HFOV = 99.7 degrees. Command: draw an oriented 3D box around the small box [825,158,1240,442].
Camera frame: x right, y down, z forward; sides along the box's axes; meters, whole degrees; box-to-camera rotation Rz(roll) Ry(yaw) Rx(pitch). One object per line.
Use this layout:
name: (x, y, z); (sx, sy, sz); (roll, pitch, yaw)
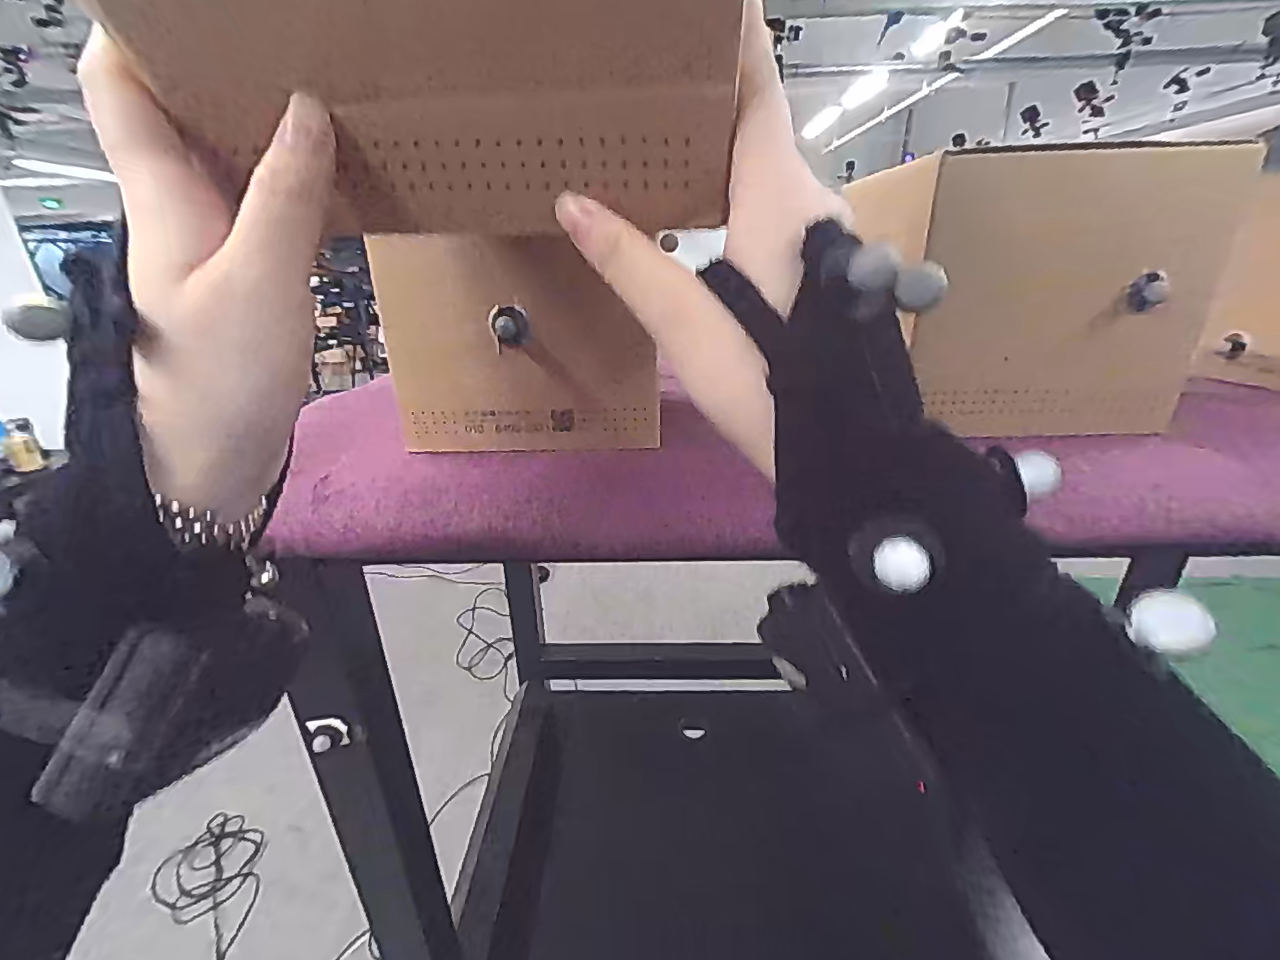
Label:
small box: (0.256, -0.131, 0.408); (0.179, 0.176, 0.168); (-2, 21, 1)

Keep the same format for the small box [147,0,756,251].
small box: (-0.051, -0.196, 0.179); (0.179, 0.176, 0.168); (2, 56, 2)

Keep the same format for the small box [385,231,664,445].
small box: (-0.066, -0.129, 0.406); (0.168, 0.176, 0.179); (0, 22, 0)
